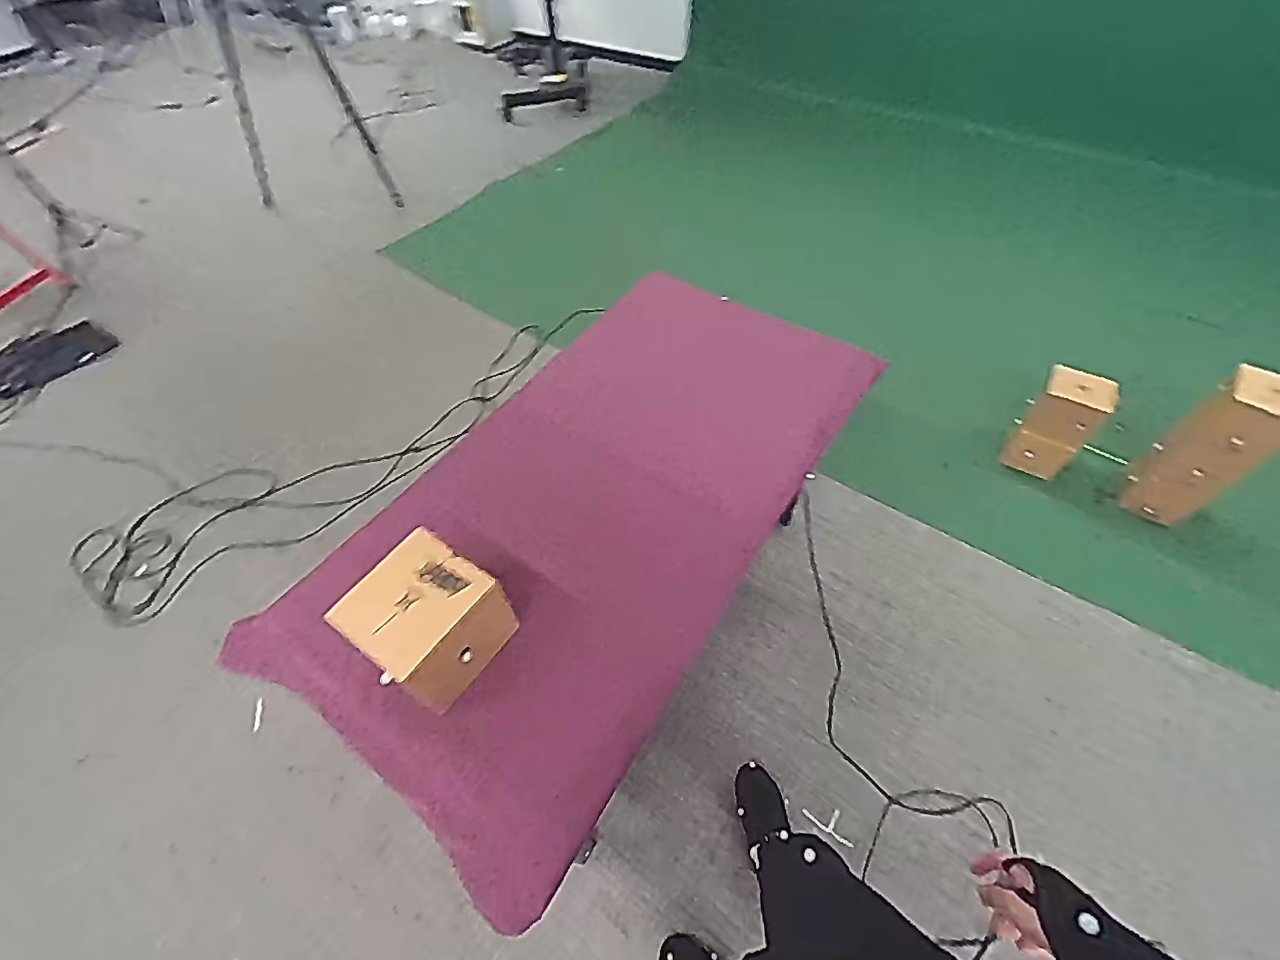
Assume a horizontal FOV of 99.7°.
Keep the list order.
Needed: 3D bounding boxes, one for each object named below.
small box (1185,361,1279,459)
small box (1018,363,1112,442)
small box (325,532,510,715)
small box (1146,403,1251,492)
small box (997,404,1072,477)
[{"bbox_3d":[1.702,-0.195,1.525,0.168,0.176,0.179,31,61,23],"label":"small box"},{"bbox_3d":[1.402,-0.249,1.788,0.179,0.176,0.168,26,58,21],"label":"small box"},{"bbox_3d":[-0.316,0.218,0.814,0.168,0.176,0.179,28,60,22],"label":"small box"},{"bbox_3d":[1.710,-0.096,1.656,0.168,0.176,0.179,30,62,21],"label":"small box"},{"bbox_3d":[1.398,-0.142,1.910,0.168,0.176,0.179,26,58,21],"label":"small box"}]
